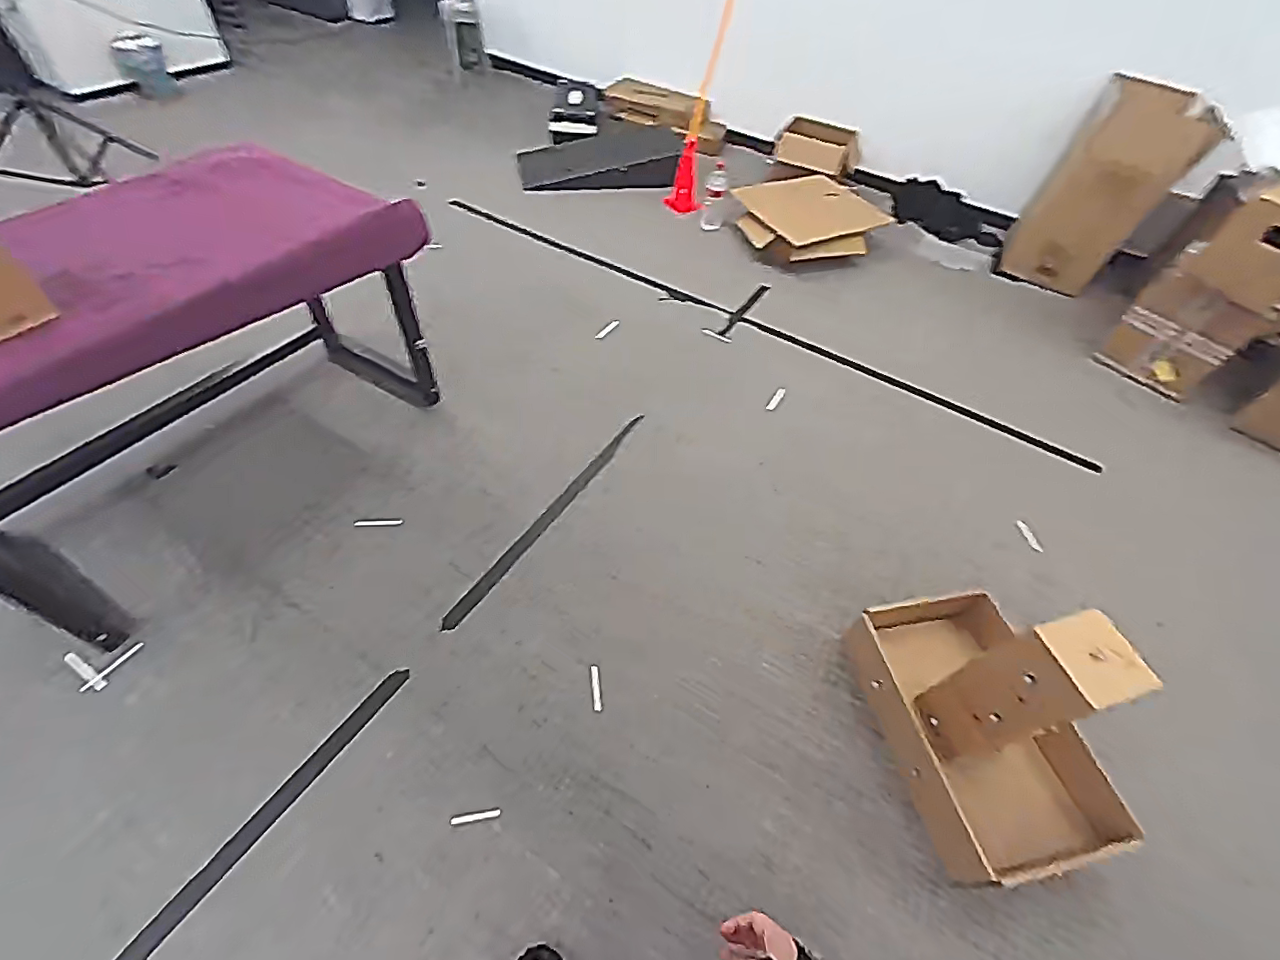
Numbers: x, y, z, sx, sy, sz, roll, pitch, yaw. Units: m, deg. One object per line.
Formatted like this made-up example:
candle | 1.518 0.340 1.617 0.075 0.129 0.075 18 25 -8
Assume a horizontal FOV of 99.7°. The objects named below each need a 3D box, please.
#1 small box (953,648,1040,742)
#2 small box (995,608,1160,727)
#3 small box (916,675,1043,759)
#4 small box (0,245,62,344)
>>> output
small box | 0.862 0.485 1.245 0.179 0.176 0.168 -9 55 -14
small box | 0.877 0.389 1.112 0.179 0.176 0.168 -10 56 -14
small box | 0.848 0.589 1.369 0.179 0.176 0.168 -7 53 -11
small box | -1.279 -0.365 1.022 0.179 0.176 0.168 27 54 16
